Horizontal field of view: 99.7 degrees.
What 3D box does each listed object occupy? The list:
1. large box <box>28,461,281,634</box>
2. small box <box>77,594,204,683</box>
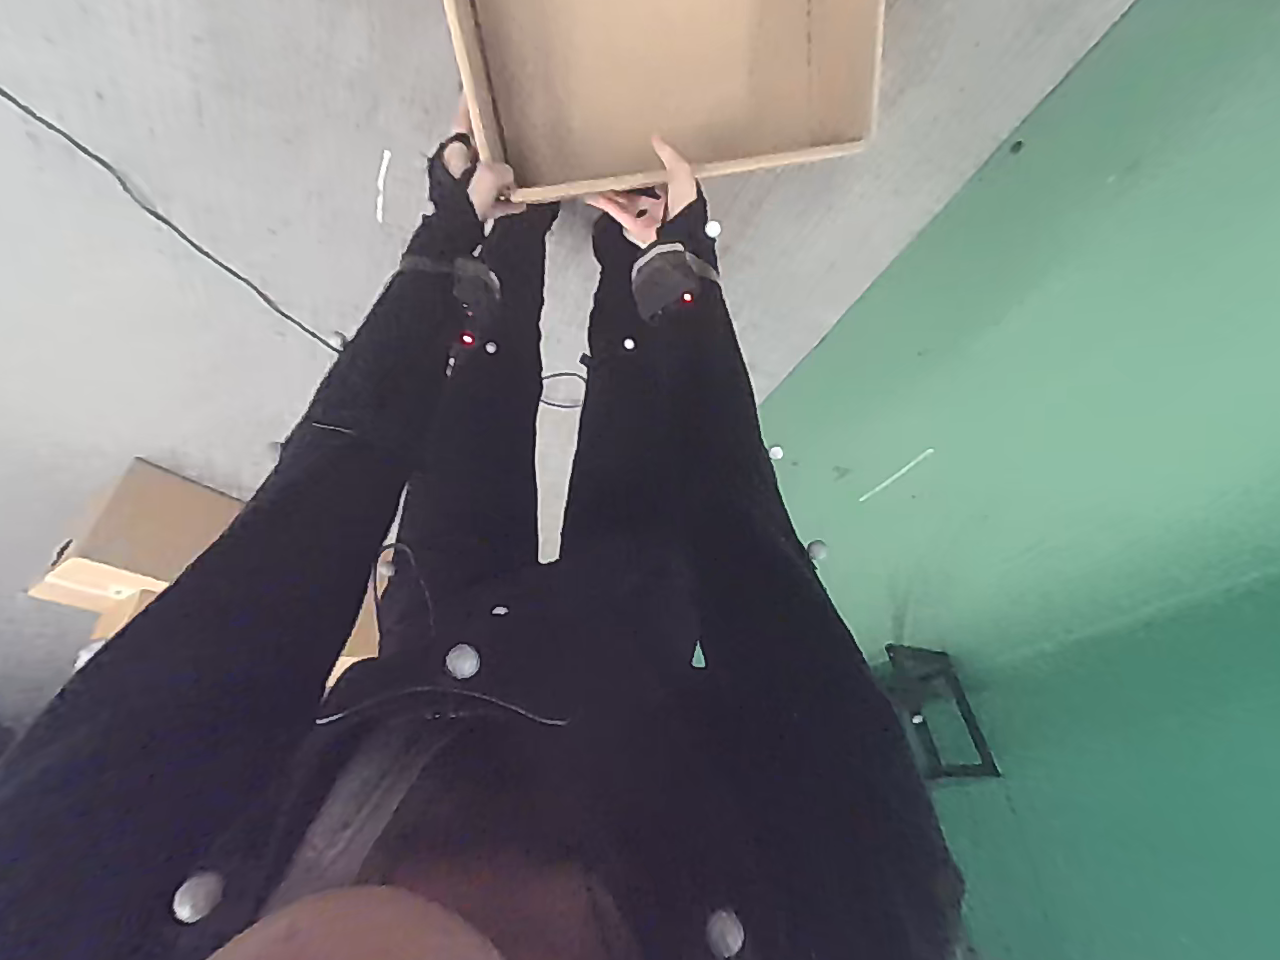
[{"bbox_3d":[-1.371,0.212,1.571,0.320,0.320,0.408,-25,138,23],"label":"large box"},{"bbox_3d":[-1.335,0.429,1.458,0.179,0.176,0.168,-21,140,21],"label":"small box"}]
